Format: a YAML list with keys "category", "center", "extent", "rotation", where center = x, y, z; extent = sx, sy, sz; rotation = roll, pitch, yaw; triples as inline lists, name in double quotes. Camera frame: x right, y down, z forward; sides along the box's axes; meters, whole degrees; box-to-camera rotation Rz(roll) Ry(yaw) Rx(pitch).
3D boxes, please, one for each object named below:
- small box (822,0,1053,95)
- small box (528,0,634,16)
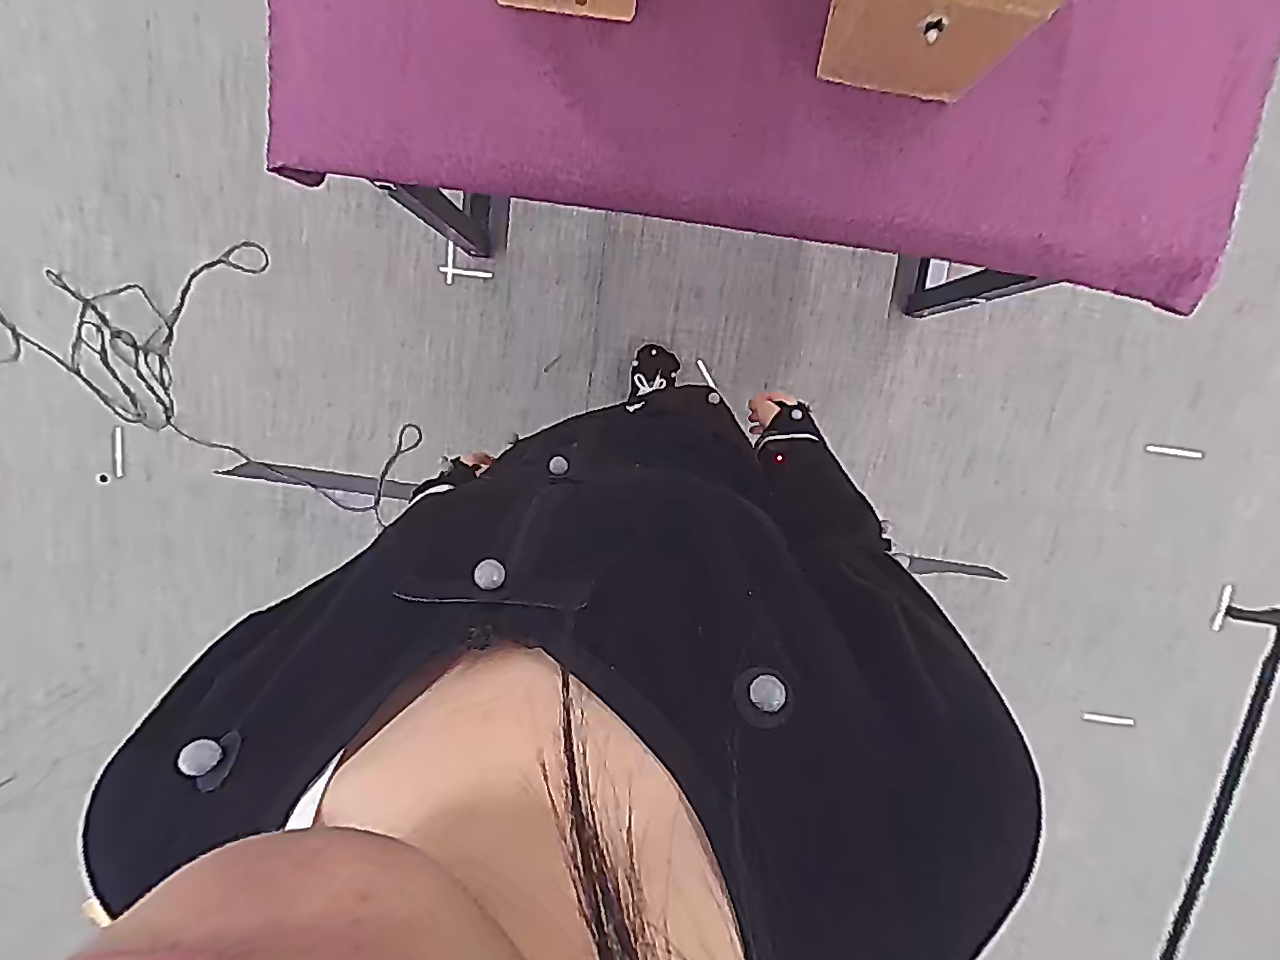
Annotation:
- category: "small box"
  center: [0.313, -0.544, 0.569]
  extent: [0.179, 0.176, 0.168]
  rotation: [9, 101, -2]
- category: "small box"
  center: [-0.081, -0.632, 0.557]
  extent: [0.168, 0.176, 0.179]
  rotation: [7, 99, 0]
